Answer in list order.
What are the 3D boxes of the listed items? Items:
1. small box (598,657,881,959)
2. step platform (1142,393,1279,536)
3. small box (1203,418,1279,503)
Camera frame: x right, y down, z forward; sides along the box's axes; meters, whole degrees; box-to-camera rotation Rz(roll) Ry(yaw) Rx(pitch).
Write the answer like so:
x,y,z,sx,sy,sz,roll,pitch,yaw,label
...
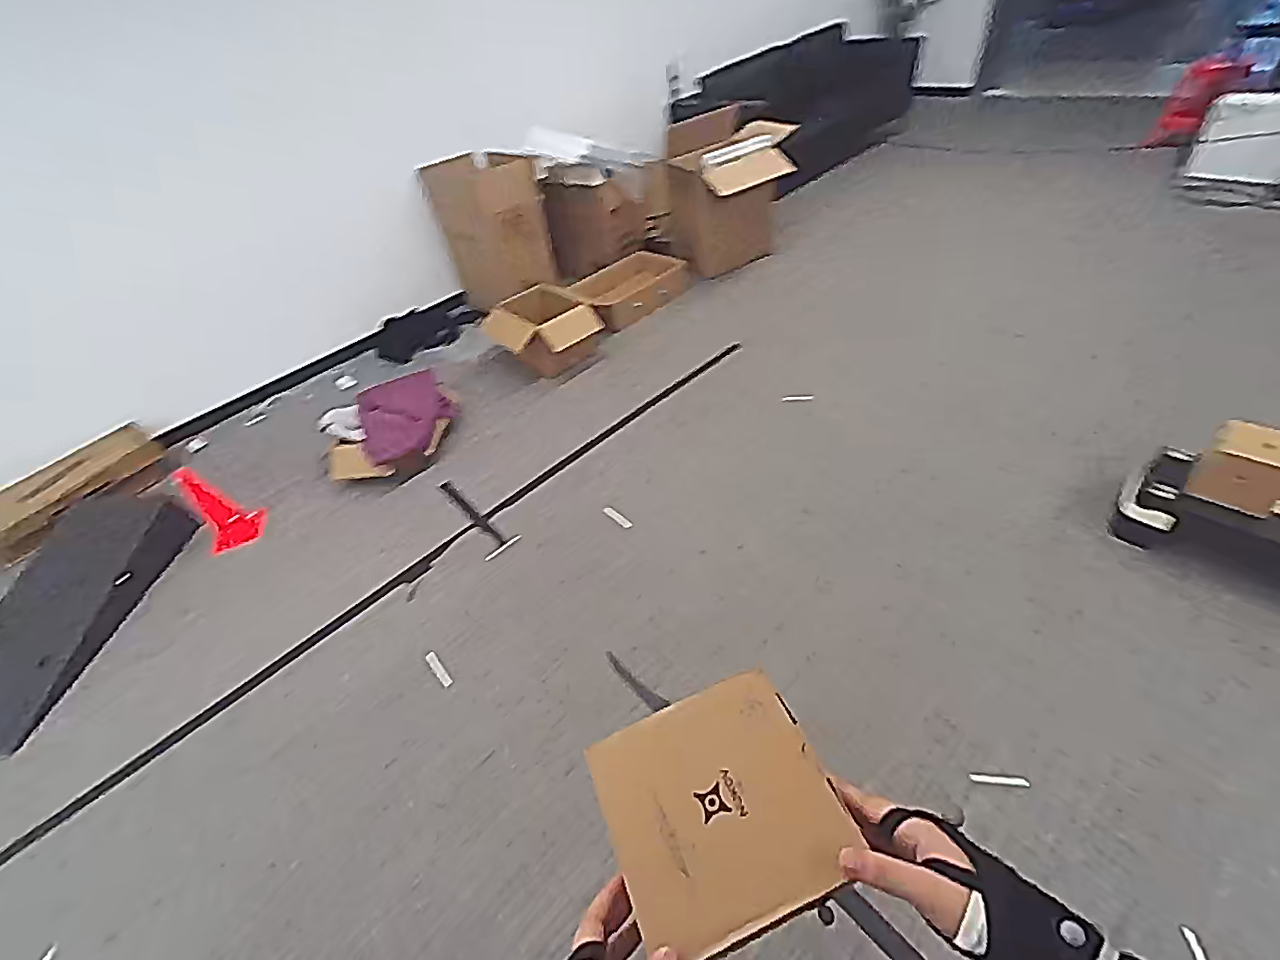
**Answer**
x,y,z,sx,sy,sz,roll,pitch,yaw,label
0.083,0.298,0.493,0.179,0.176,0.168,-24,48,-6,small box
1.732,0.019,1.362,0.286,0.204,0.684,-39,50,-26,step platform
1.650,-0.042,1.495,0.179,0.176,0.168,28,57,34,small box
